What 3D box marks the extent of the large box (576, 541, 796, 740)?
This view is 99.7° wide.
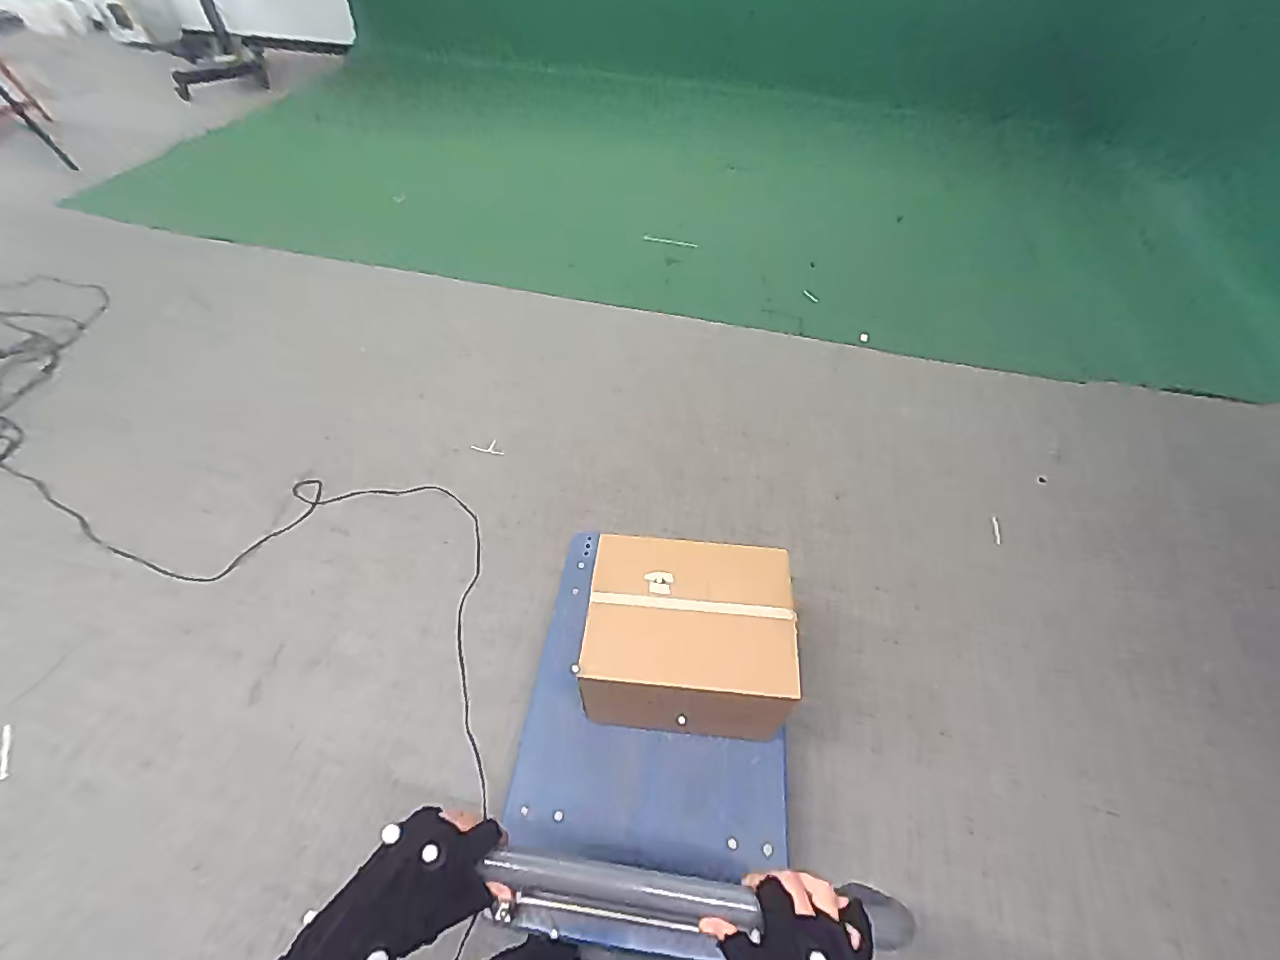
[{"bbox_3d":[0.095,0.355,1.178,0.408,0.320,0.320,4,50,4],"label":"large box"}]
